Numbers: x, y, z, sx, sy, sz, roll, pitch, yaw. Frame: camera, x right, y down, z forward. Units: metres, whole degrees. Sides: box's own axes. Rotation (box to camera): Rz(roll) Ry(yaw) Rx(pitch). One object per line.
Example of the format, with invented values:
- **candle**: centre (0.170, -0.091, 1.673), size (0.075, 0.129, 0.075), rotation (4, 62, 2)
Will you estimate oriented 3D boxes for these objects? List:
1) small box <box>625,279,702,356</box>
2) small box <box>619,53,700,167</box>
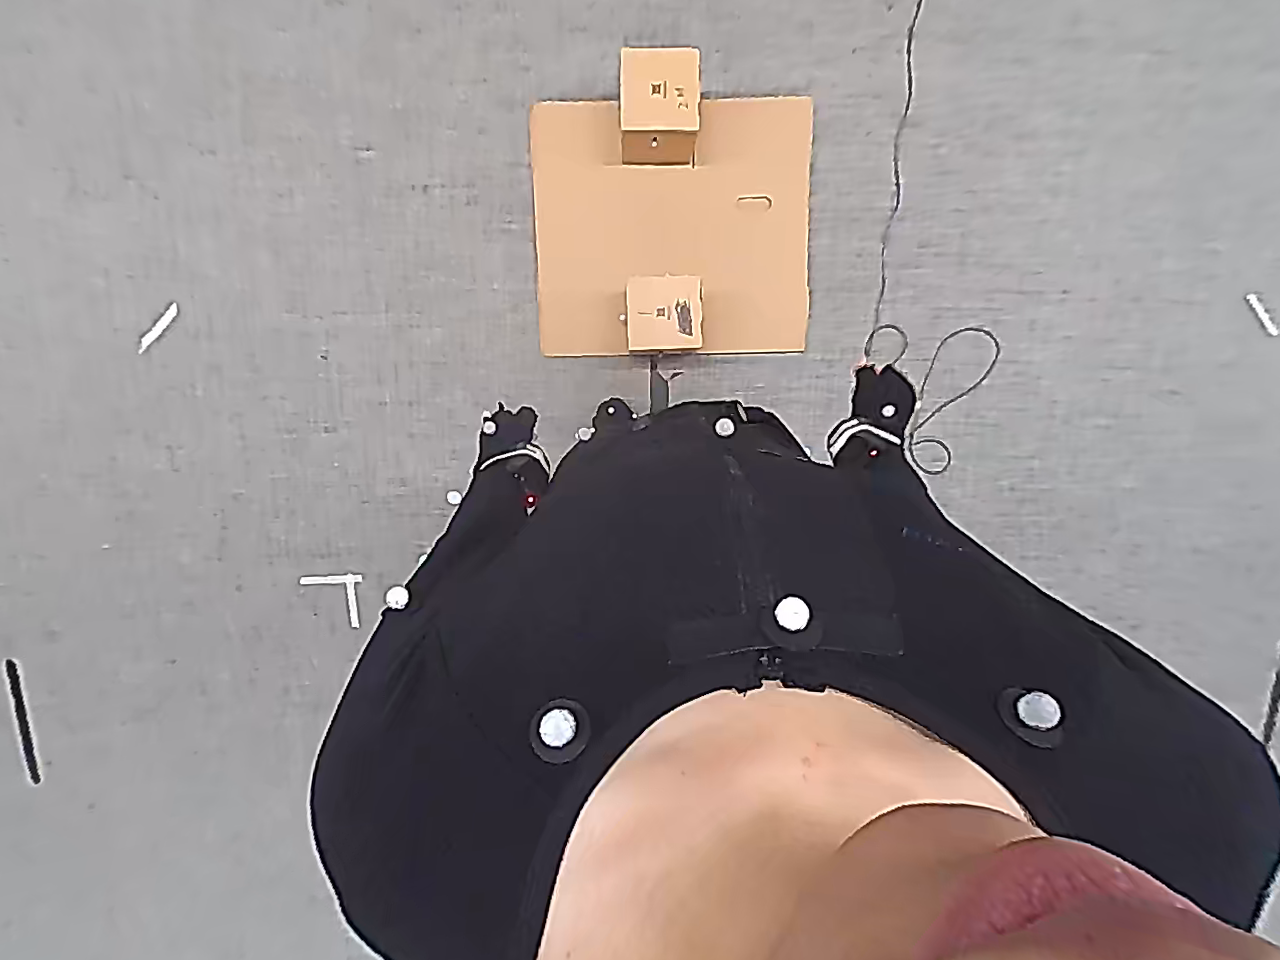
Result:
- **small box**: centre (0.053, -0.395, 1.334), size (0.179, 0.176, 0.168), rotation (-2, 99, -1)
- **small box**: centre (0.040, -0.852, 1.261), size (0.179, 0.176, 0.168), rotation (0, 99, -2)
